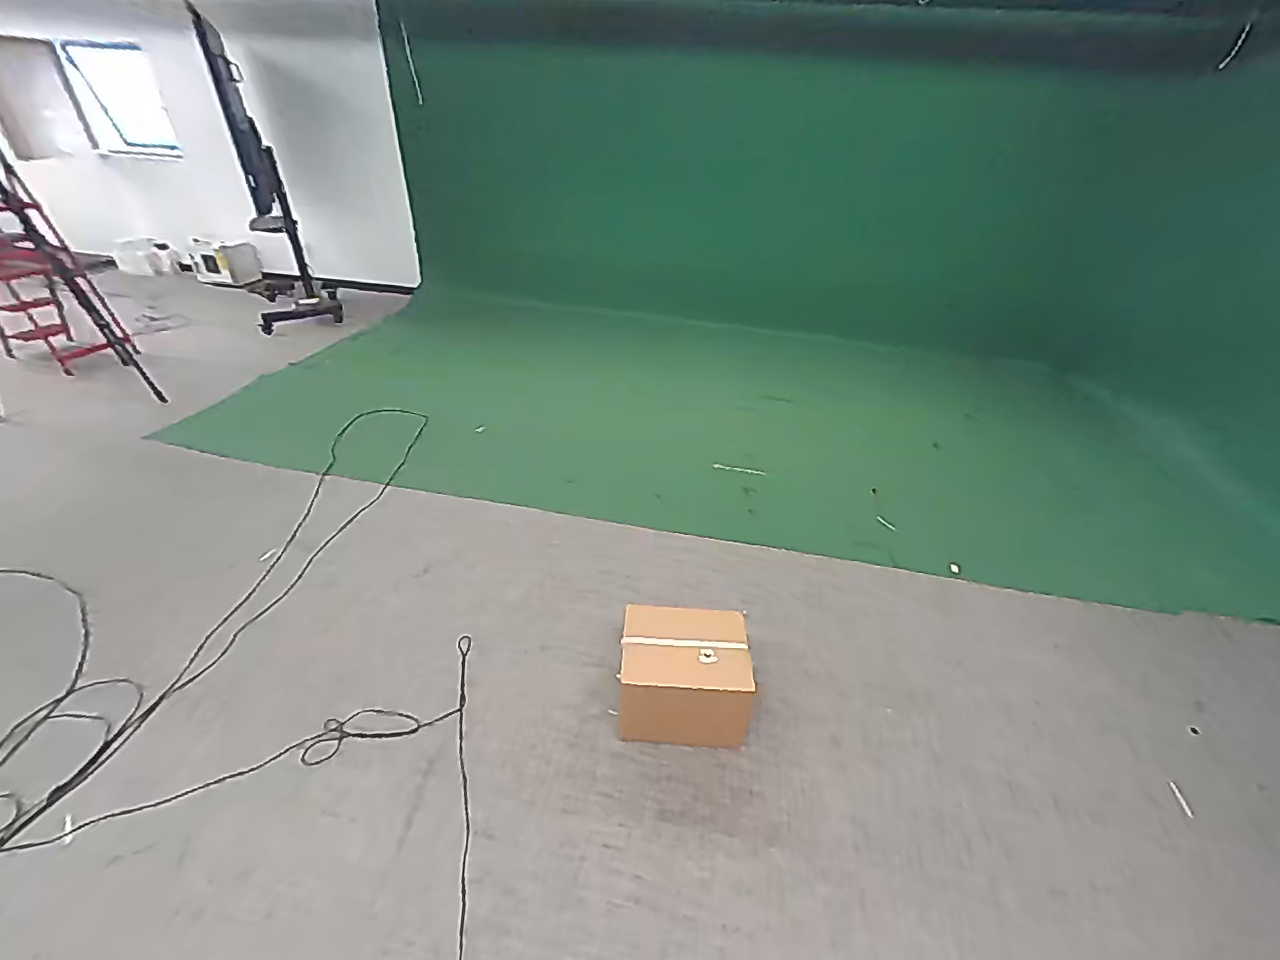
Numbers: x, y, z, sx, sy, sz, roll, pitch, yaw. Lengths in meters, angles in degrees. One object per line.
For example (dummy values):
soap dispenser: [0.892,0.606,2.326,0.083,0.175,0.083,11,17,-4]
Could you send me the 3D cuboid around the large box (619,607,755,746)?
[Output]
large box: [0.137,0.653,1.801,0.408,0.320,0.320,4,34,0]
